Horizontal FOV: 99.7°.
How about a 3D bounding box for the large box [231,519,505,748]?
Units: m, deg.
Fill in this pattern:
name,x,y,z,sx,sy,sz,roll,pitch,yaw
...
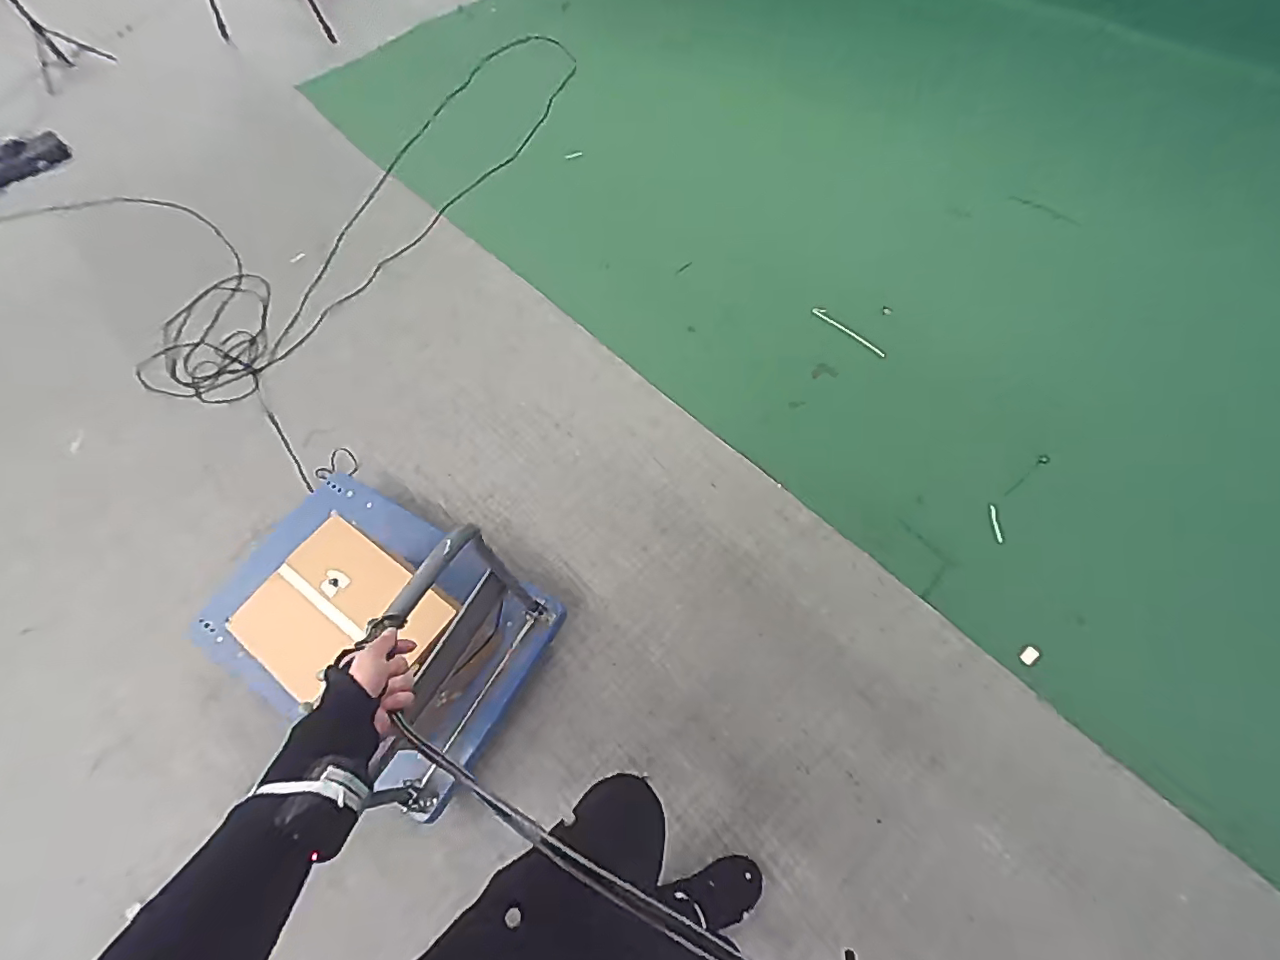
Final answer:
name,x,y,z,sx,sy,sz,roll,pitch,yaw
large box,-0.593,0.359,1.242,0.408,0.320,0.320,31,69,19
